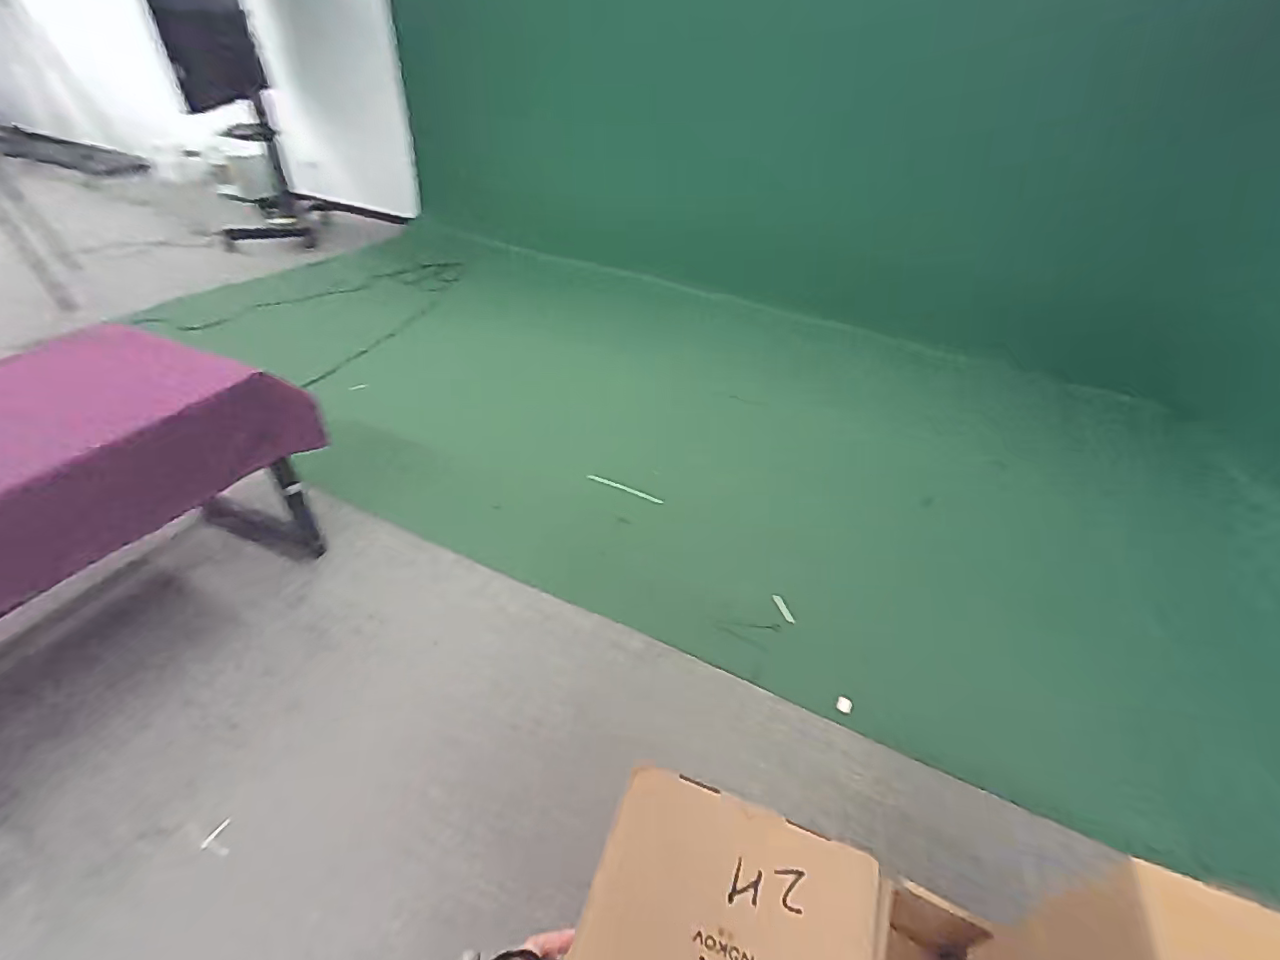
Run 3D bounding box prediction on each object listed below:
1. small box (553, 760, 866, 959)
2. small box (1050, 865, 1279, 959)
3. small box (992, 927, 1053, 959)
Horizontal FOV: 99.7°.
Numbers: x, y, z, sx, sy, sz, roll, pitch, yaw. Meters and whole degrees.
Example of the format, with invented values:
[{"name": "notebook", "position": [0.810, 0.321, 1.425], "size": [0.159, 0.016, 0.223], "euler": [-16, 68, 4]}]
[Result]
[{"name": "small box", "position": [0.031, 0.324, 0.364], "size": [0.168, 0.176, 0.179], "euler": [19, 53, 8]}, {"name": "small box", "position": [0.503, 0.494, 0.476], "size": [0.168, 0.176, 0.179], "euler": [17, 41, 14]}, {"name": "small box", "position": [0.485, 0.627, 0.568], "size": [0.179, 0.176, 0.168], "euler": [18, 41, 15]}]
